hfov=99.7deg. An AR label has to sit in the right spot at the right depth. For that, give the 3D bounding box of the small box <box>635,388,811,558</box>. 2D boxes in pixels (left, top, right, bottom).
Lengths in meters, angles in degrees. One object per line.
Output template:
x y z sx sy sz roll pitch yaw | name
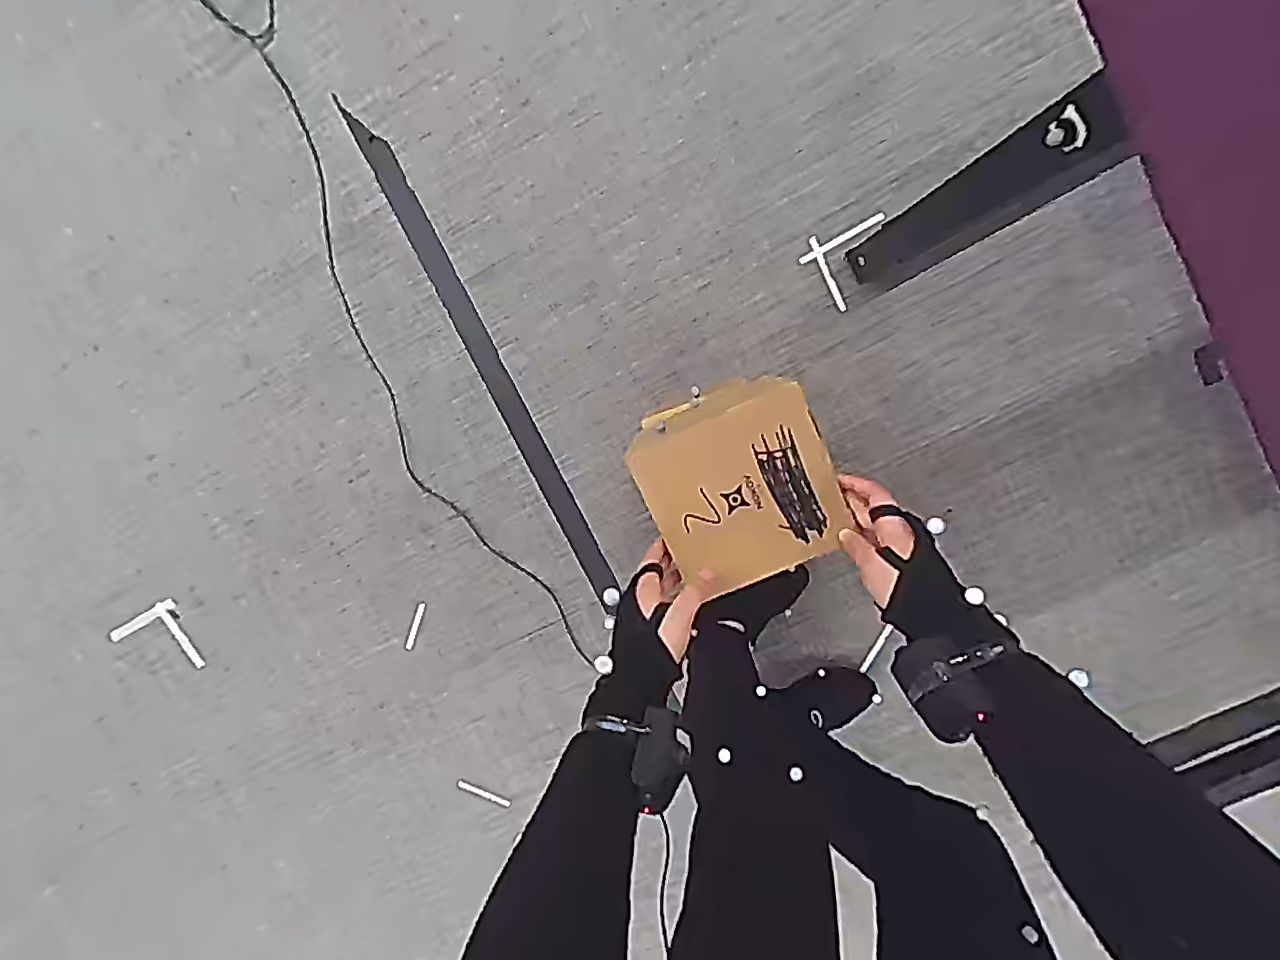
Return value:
0.107 -0.021 0.751 0.179 0.176 0.168 -26 98 8 | small box

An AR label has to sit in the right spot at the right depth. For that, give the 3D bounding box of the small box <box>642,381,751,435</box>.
0.116 -0.059 0.911 0.179 0.176 0.168 -21 98 7 | small box
